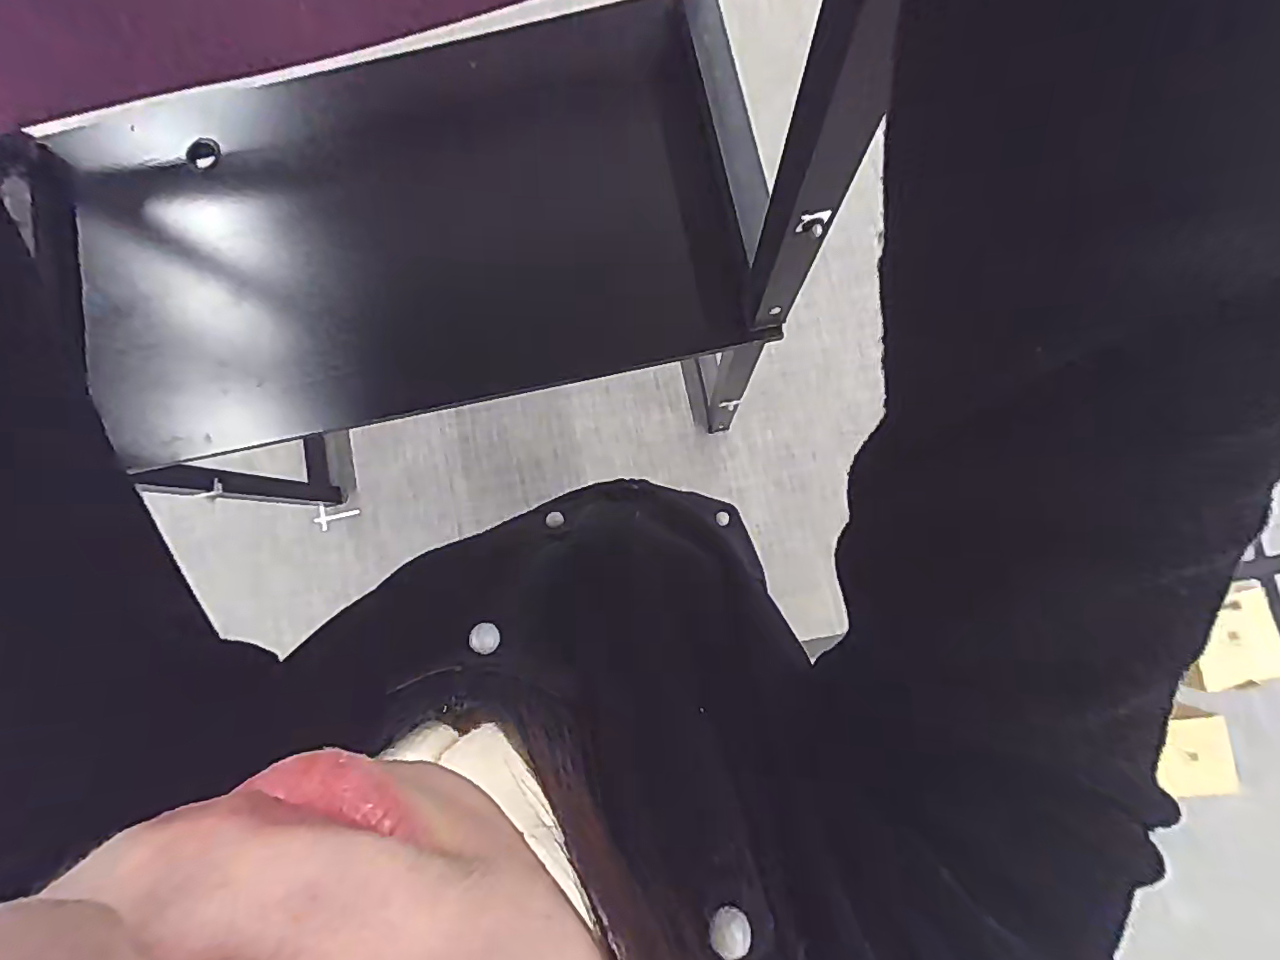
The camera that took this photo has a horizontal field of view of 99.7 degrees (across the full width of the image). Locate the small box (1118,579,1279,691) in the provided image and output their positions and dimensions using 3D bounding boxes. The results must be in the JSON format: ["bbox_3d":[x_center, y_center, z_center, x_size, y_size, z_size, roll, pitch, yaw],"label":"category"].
[{"bbox_3d":[1.185,0.320,1.148,0.168,0.176,0.179,-14,84,2],"label":"small box"}]

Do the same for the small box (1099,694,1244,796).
[{"bbox_3d":[1.240,0.620,1.281,0.179,0.176,0.168,-7,84,3],"label":"small box"}]
